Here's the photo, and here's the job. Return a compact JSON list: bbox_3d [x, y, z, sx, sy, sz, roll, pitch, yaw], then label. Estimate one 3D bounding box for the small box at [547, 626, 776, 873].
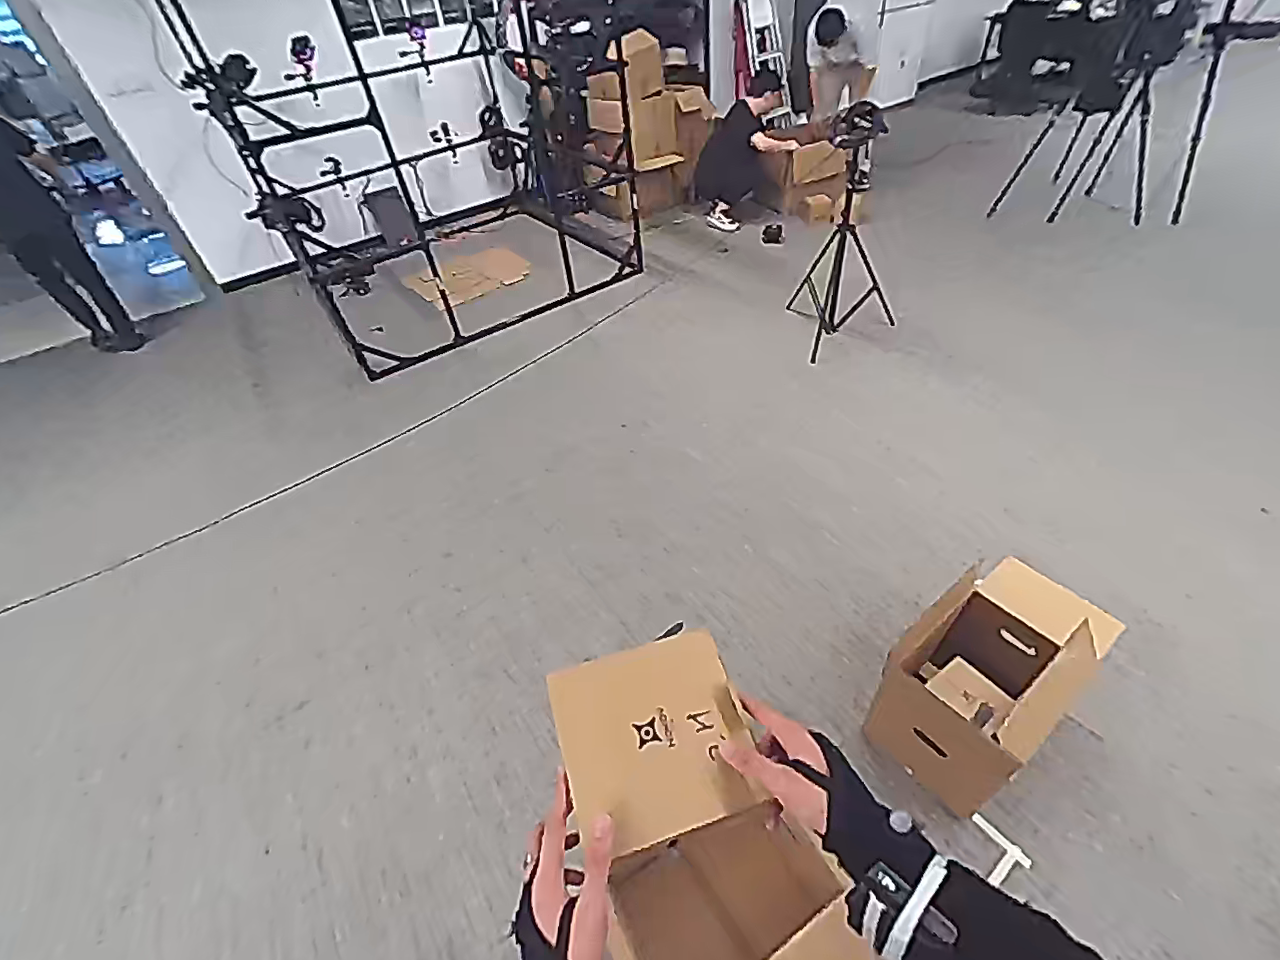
[{"bbox_3d":[0.012,0.280,0.559,0.179,0.176,0.168,-12,53,-13],"label":"small box"}]
